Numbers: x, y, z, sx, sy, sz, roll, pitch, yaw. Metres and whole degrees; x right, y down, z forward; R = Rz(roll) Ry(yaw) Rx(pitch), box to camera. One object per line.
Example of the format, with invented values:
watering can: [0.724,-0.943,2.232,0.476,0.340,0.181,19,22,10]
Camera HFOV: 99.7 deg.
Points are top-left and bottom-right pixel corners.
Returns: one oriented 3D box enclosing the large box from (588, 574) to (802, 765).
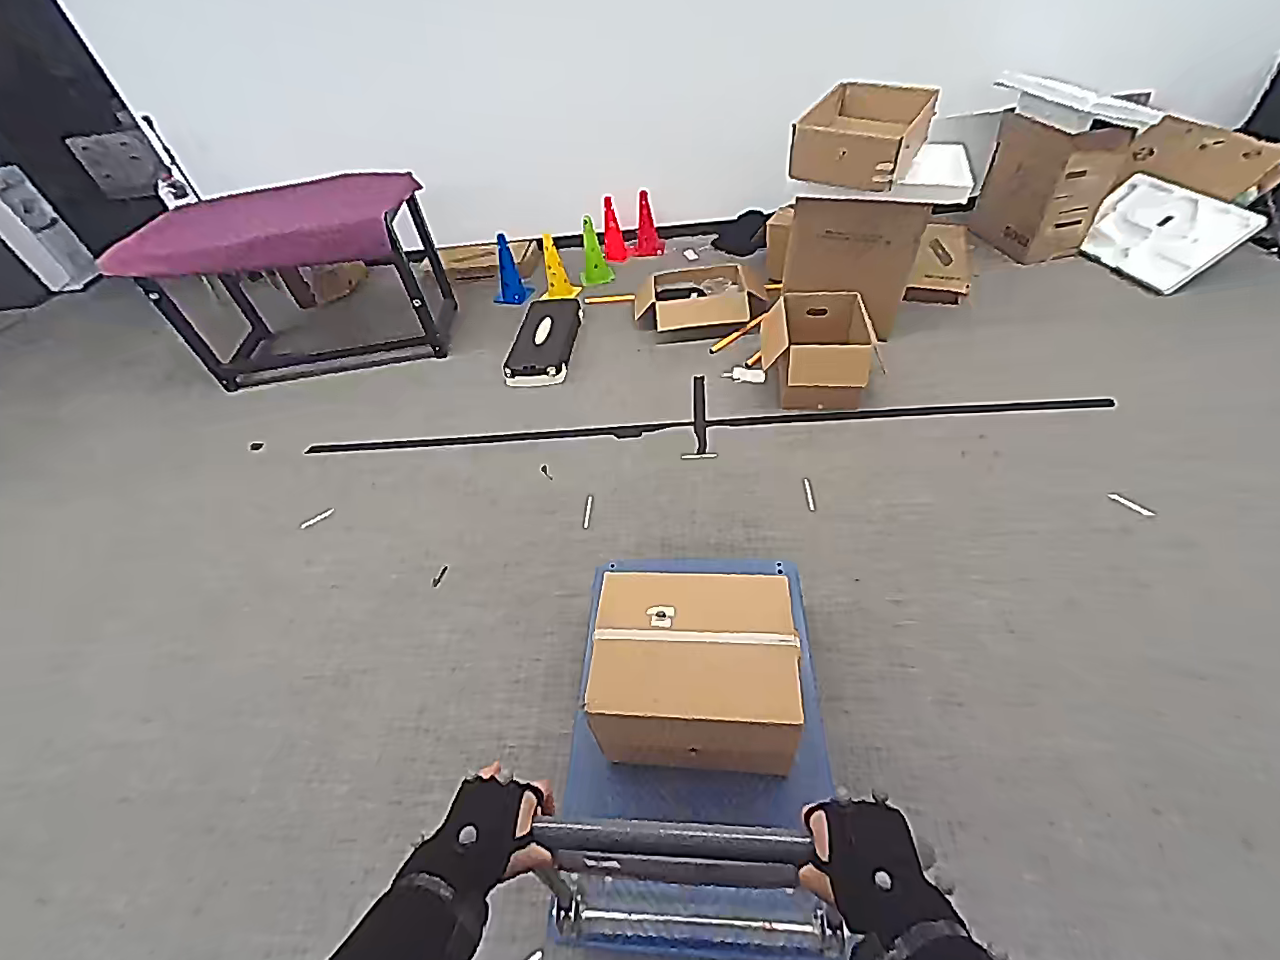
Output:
large box: [0.126,0.425,1.209,0.408,0.320,0.320,-1,46,8]
